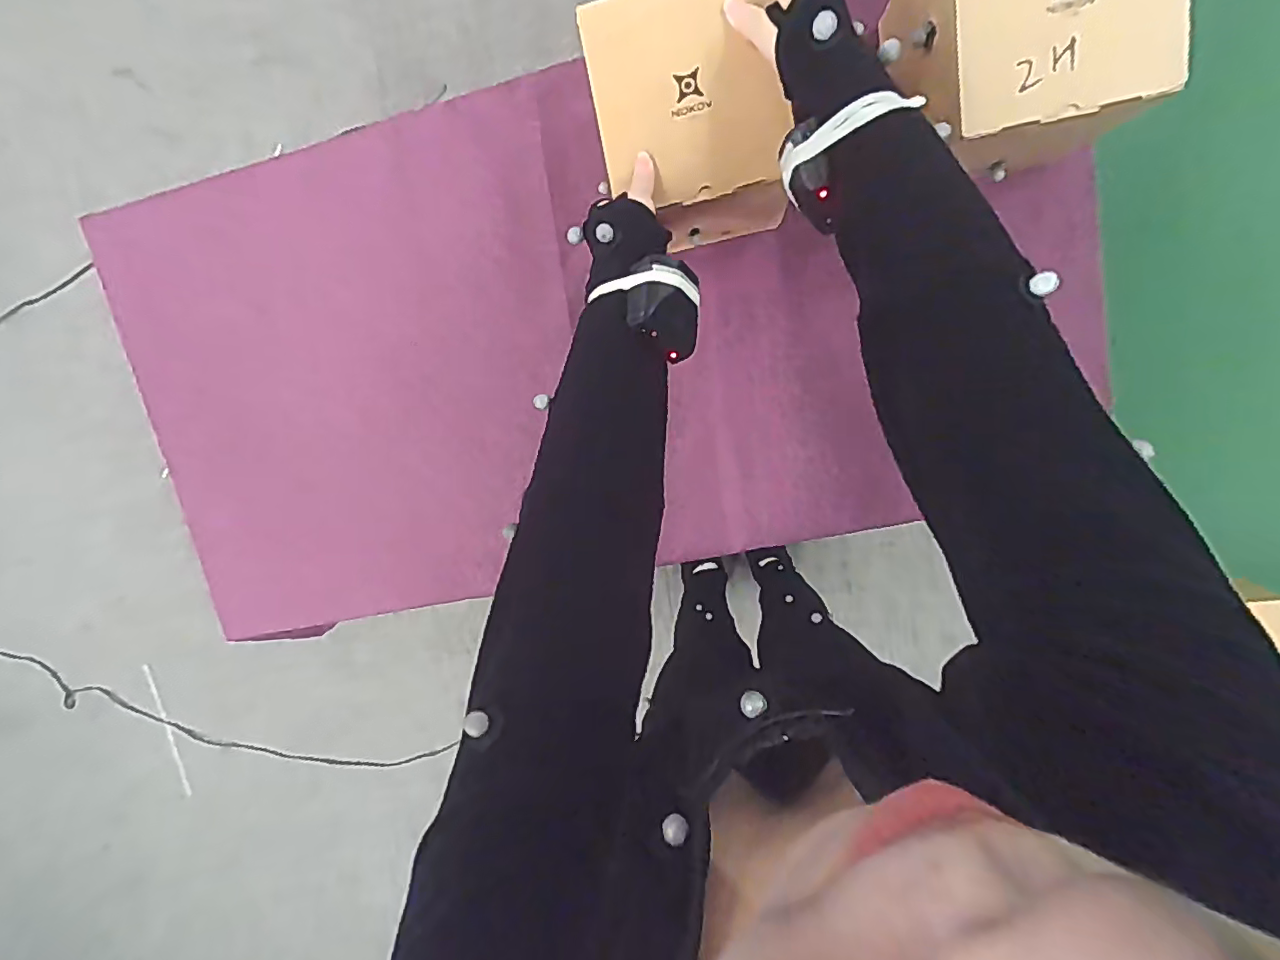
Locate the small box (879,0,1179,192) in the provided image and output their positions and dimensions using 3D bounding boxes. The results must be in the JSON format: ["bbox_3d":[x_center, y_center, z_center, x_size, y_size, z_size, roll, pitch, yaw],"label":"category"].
[{"bbox_3d":[0.330,-0.393,0.492,0.168,0.176,0.179,-8,102,9],"label":"small box"}]

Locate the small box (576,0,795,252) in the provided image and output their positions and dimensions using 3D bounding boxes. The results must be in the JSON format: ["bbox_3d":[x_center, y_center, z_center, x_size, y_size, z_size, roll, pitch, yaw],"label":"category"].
[{"bbox_3d":[0.047,-0.350,0.539,0.168,0.176,0.179,-10,101,9],"label":"small box"}]
